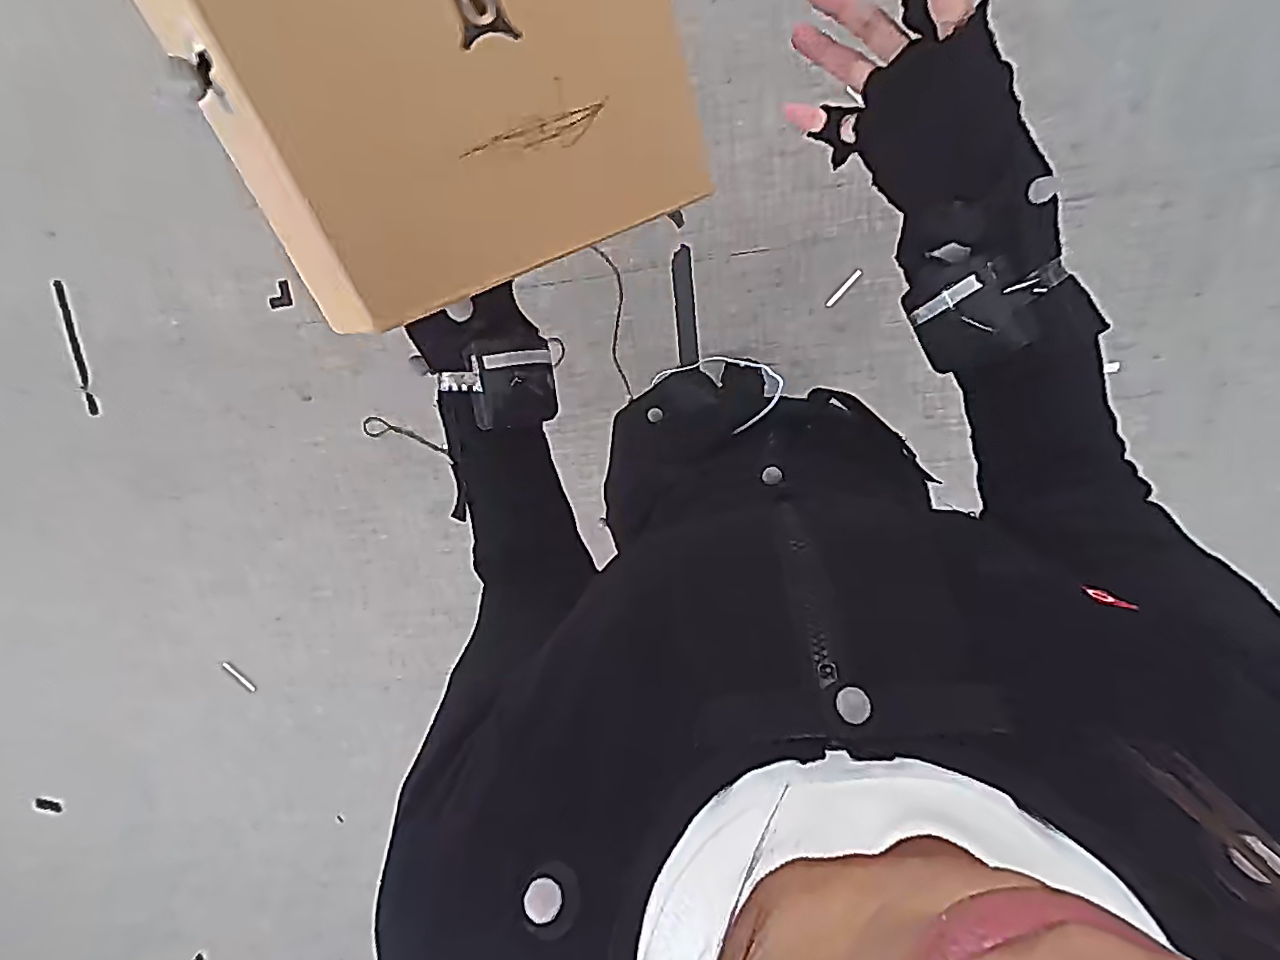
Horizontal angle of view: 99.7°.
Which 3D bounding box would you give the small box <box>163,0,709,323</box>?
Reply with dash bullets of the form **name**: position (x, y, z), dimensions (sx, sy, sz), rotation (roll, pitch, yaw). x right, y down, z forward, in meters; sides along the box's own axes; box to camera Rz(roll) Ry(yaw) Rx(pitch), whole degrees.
- **small box**: position (-0.100, -0.189, 0.261), dimensions (0.168, 0.176, 0.179), rotation (-33, 118, -24)
